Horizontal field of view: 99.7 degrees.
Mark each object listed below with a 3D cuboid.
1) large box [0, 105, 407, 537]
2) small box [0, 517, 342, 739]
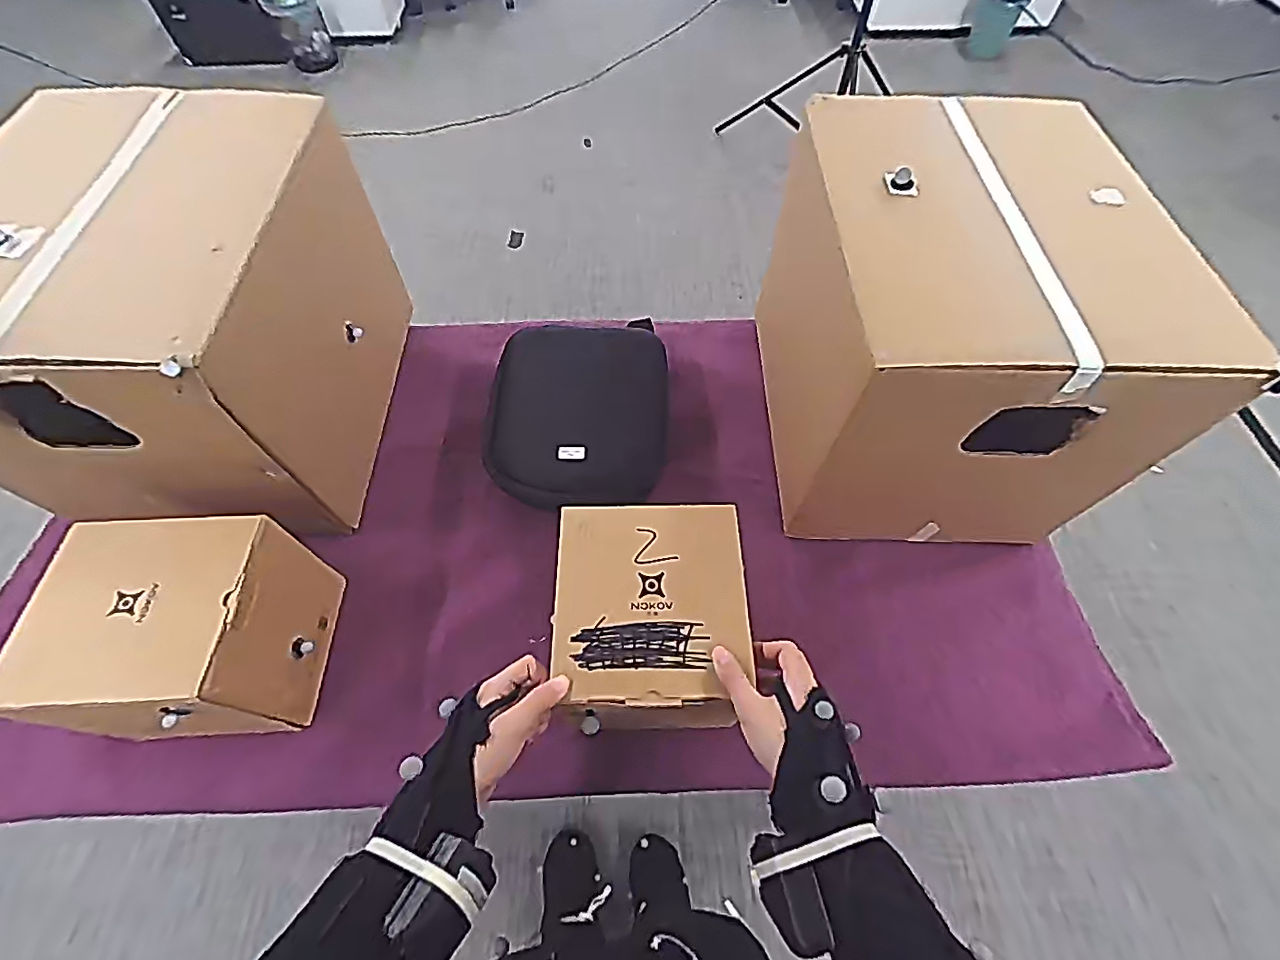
[{"bbox_3d":[-0.505,-0.171,0.644,0.320,0.320,0.408,-2,61,-3],"label":"large box"},{"bbox_3d":[-0.434,0.151,0.532,0.179,0.176,0.168,-3,58,-3],"label":"small box"}]
